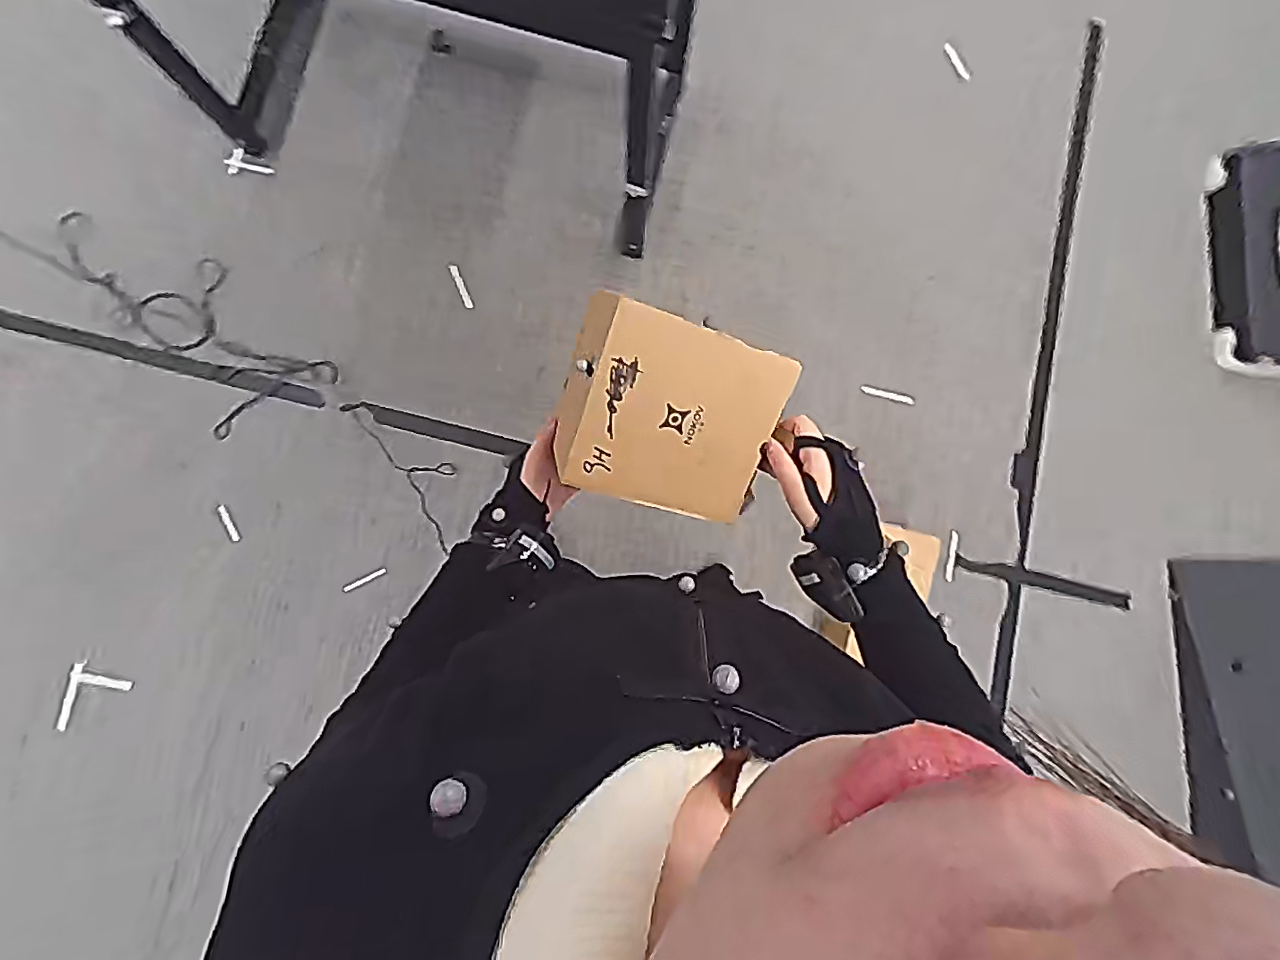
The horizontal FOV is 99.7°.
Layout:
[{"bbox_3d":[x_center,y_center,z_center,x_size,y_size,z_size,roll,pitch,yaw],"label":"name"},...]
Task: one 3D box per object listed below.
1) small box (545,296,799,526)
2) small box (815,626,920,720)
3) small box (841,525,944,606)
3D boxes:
[{"bbox_3d":[0.016,-0.077,0.535,0.179,0.176,0.168,15,105,-19],"label":"small box"},{"bbox_3d":[0.582,0.492,1.408,0.179,0.176,0.168,19,85,-1],"label":"small box"},{"bbox_3d":[0.660,0.222,1.434,0.179,0.176,0.168,16,85,-1],"label":"small box"}]
